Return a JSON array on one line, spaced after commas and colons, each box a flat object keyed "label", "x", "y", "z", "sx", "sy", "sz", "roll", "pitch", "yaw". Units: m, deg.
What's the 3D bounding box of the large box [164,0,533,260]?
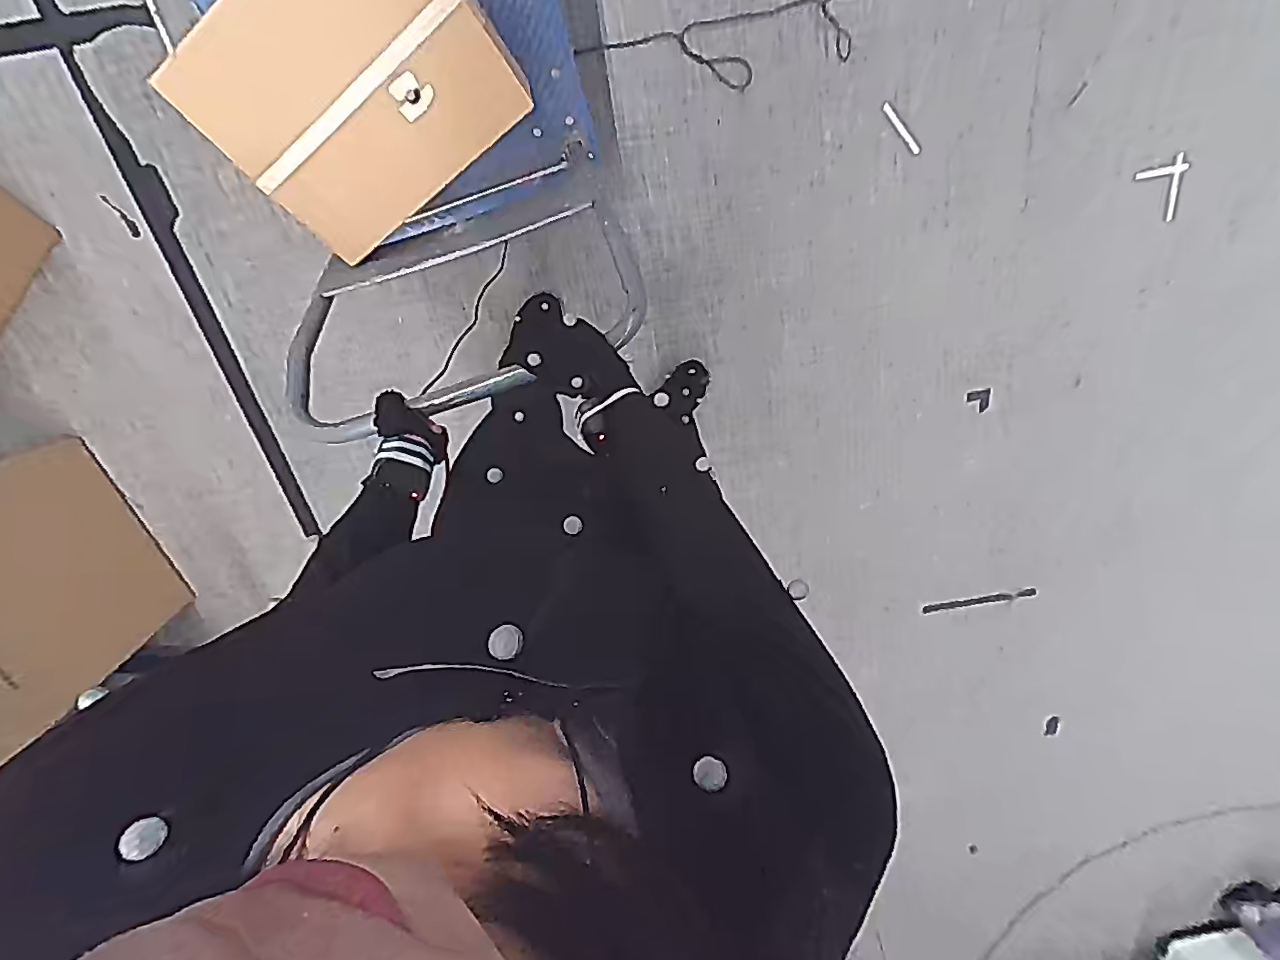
[{"label": "large box", "x": -0.429, "y": -0.651, "z": 0.878, "sx": 0.408, "sy": 0.320, "sz": 0.320, "roll": -33, "pitch": 131, "yaw": 14}]
